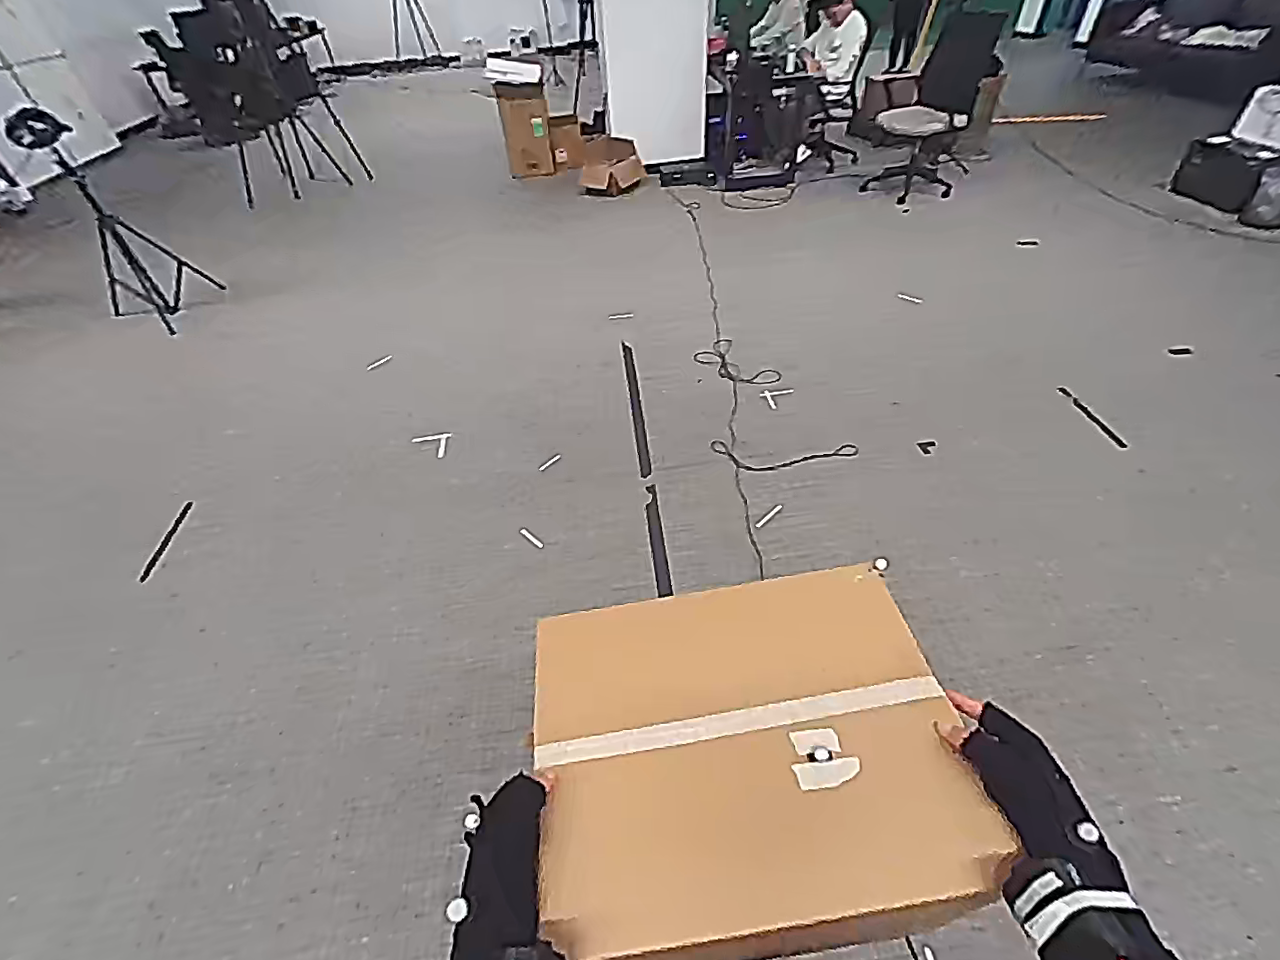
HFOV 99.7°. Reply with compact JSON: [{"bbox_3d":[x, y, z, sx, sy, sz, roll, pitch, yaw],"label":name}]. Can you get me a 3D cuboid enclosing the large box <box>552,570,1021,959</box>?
[{"bbox_3d":[0.123,0.354,0.655,0.408,0.320,0.320,-9,45,0],"label":"large box"}]
